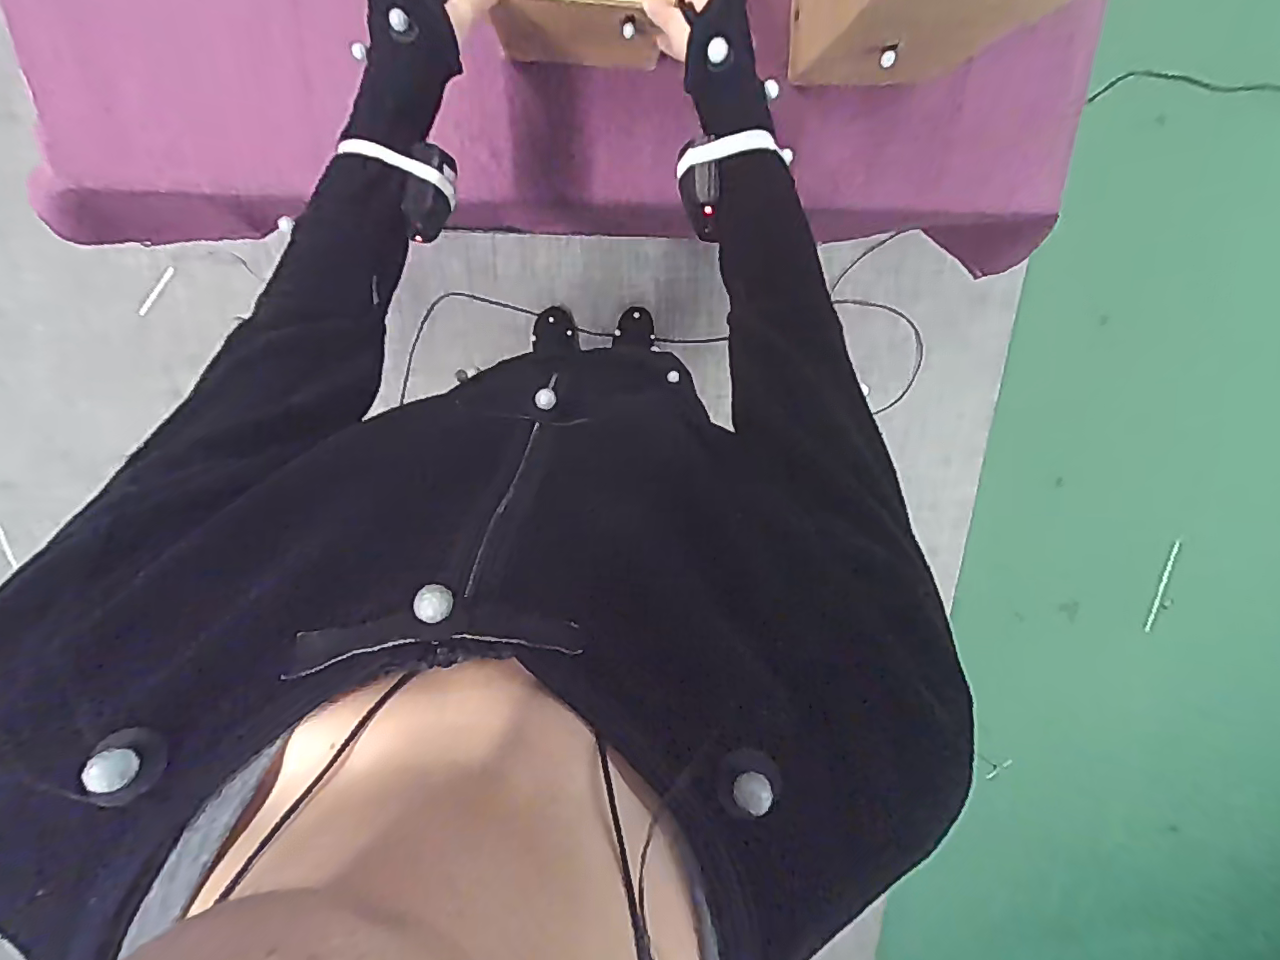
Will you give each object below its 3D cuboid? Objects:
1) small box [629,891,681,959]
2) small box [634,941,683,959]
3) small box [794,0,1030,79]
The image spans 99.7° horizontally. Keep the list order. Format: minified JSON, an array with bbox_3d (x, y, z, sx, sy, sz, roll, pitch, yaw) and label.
[{"bbox_3d":[0.051,1.664,1.991,0.168,0.176,0.179,0,108,-8],"label":"small box"},{"bbox_3d":[0.065,1.712,1.836,0.168,0.176,0.179,1,108,-6],"label":"small box"},{"bbox_3d":[0.267,-0.528,0.543,0.179,0.176,0.168,-3,109,-4],"label":"small box"}]
